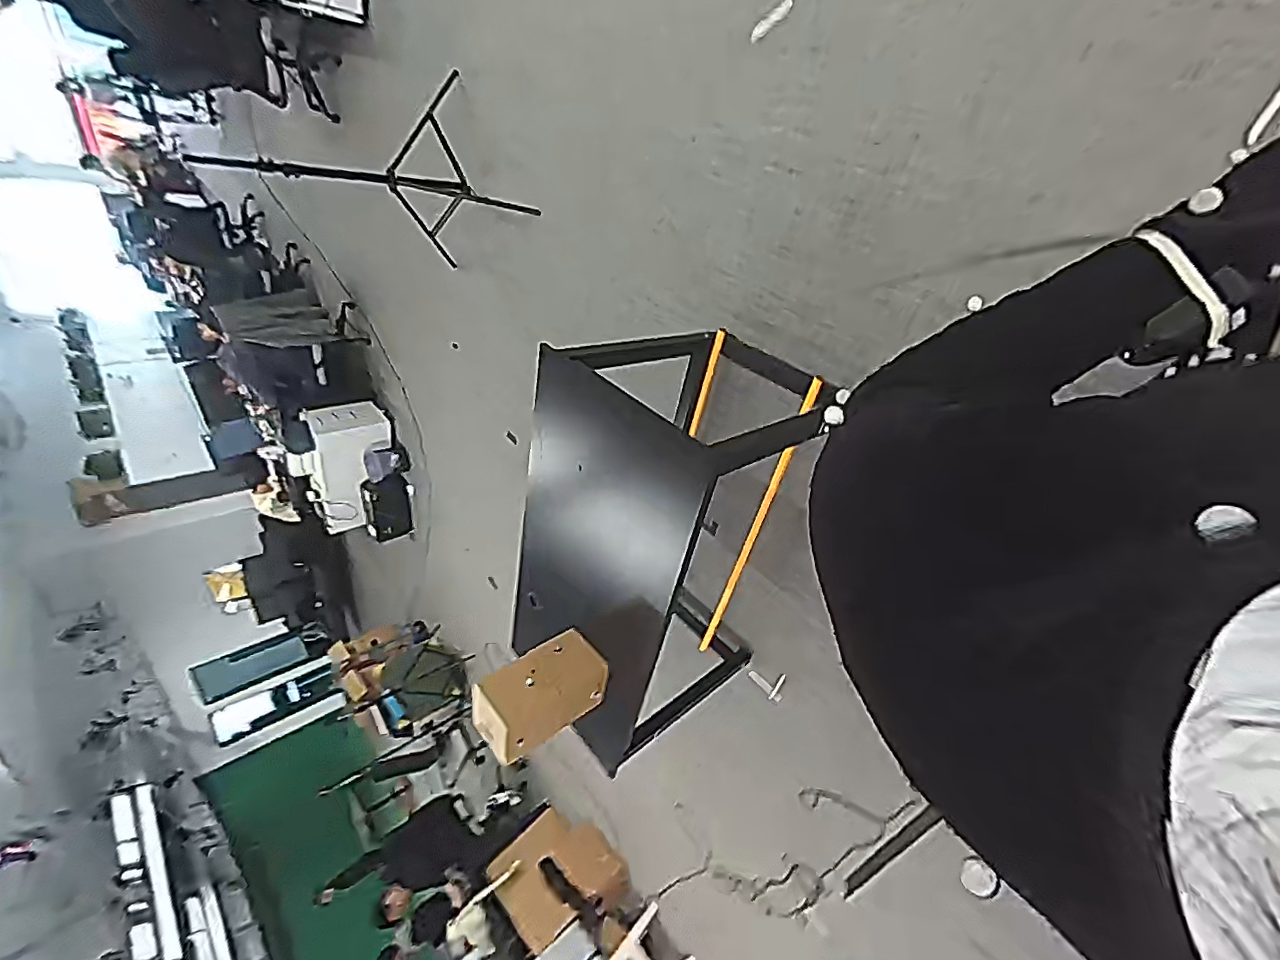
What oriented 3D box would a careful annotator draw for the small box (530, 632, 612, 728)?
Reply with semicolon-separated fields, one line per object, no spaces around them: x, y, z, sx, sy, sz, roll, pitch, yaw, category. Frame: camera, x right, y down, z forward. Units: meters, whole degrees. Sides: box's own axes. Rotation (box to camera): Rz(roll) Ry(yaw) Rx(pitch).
-0.205;0.569;1.570;0.179;0.176;0.168;34;130;35;small box

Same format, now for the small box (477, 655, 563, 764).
-0.324;0.616;1.466;0.168;0.176;0.179;35;129;36;small box
